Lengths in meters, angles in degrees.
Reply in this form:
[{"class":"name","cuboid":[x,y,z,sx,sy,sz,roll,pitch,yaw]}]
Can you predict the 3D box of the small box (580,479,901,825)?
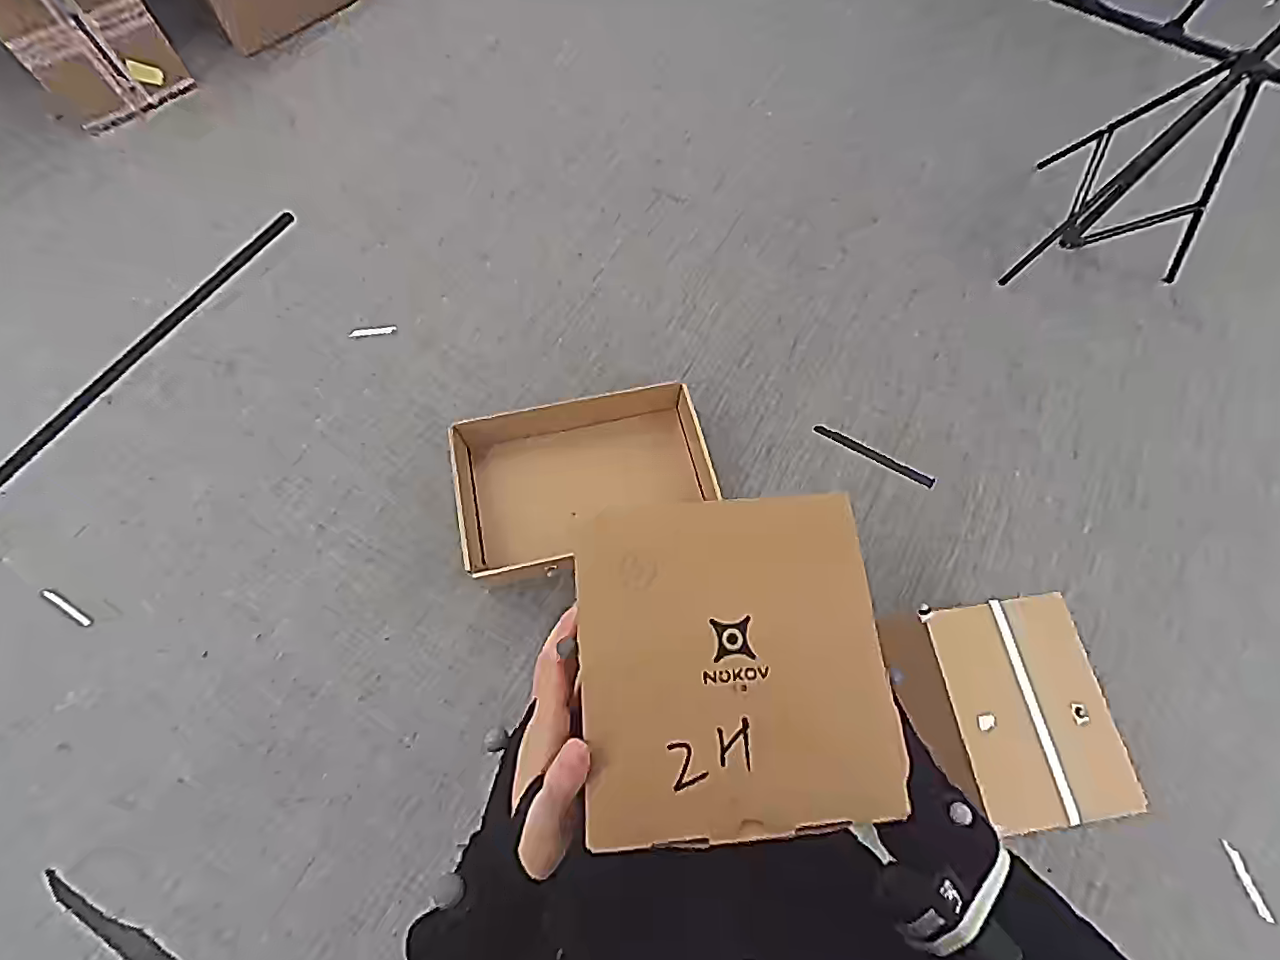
[{"class":"small box","cuboid":[0.044,0.109,0.374,0.168,0.176,0.179,-3,74,-4]}]
